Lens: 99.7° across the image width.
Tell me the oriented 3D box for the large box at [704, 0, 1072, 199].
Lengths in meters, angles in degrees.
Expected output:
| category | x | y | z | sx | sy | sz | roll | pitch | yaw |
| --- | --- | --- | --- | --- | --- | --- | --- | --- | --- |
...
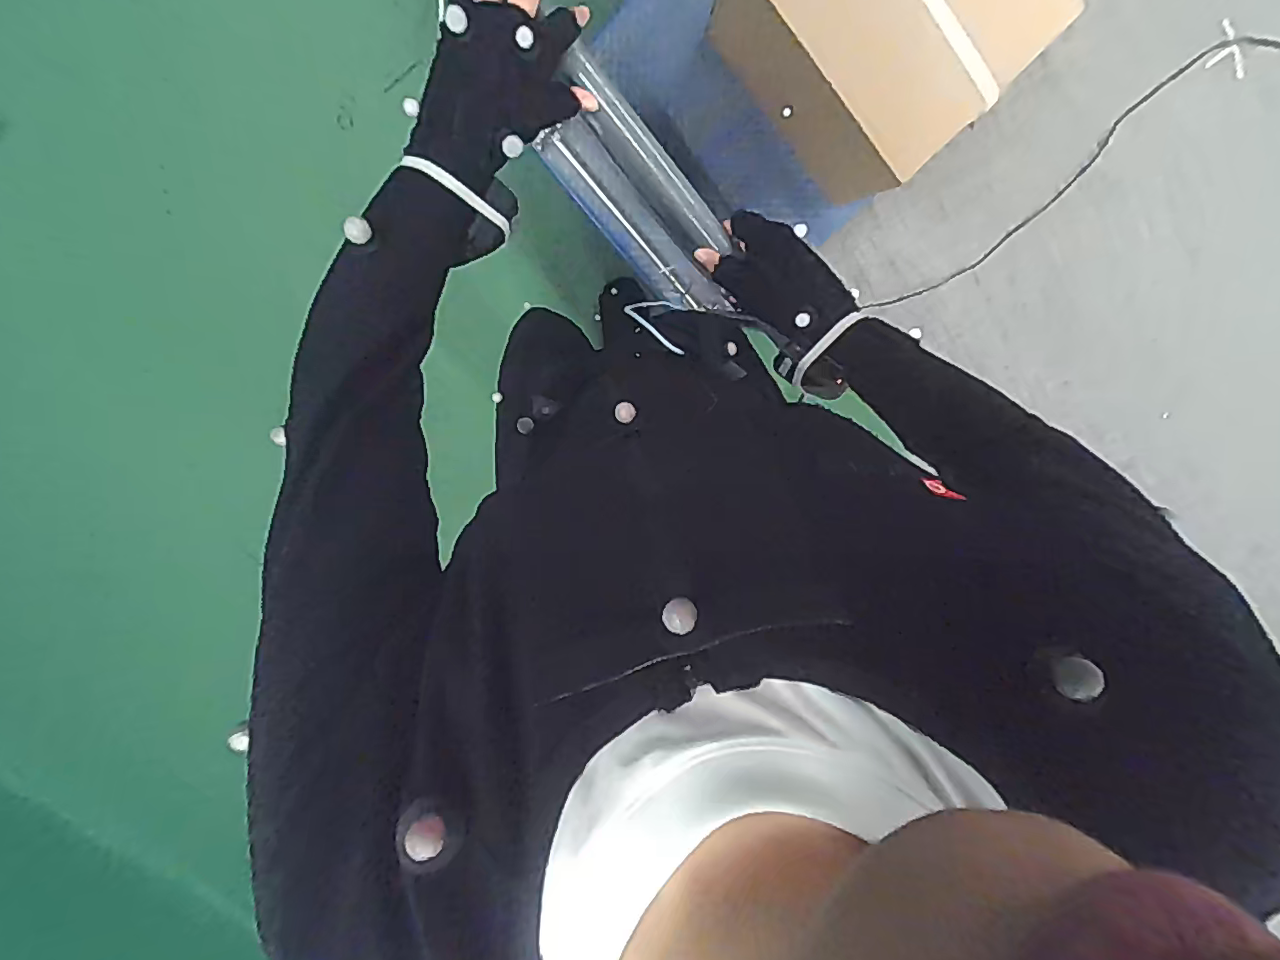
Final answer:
| category | x | y | z | sx | sy | sz | roll | pitch | yaw |
| --- | --- | --- | --- | --- | --- | --- | --- | --- | --- |
| large box | 0.359 | -0.744 | 0.880 | 0.320 | 0.320 | 0.408 | -42 | 105 | 14 |
